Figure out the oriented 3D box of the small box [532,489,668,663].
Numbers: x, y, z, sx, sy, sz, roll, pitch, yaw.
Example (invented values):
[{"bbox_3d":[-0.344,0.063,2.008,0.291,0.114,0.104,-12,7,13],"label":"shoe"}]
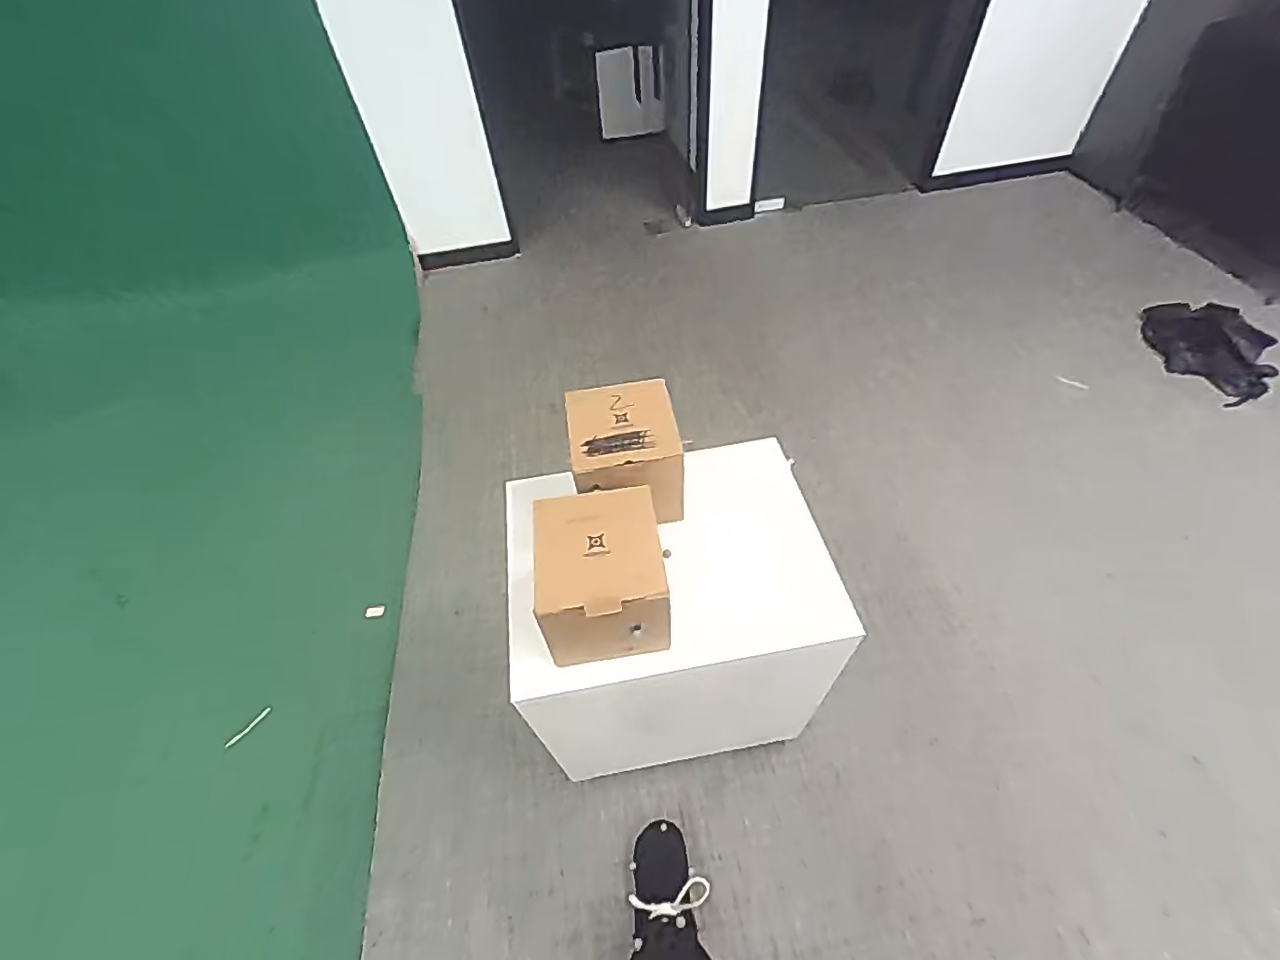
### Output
[{"bbox_3d":[-0.053,0.140,0.754,0.168,0.176,0.179,-7,49,-4],"label":"small box"}]
